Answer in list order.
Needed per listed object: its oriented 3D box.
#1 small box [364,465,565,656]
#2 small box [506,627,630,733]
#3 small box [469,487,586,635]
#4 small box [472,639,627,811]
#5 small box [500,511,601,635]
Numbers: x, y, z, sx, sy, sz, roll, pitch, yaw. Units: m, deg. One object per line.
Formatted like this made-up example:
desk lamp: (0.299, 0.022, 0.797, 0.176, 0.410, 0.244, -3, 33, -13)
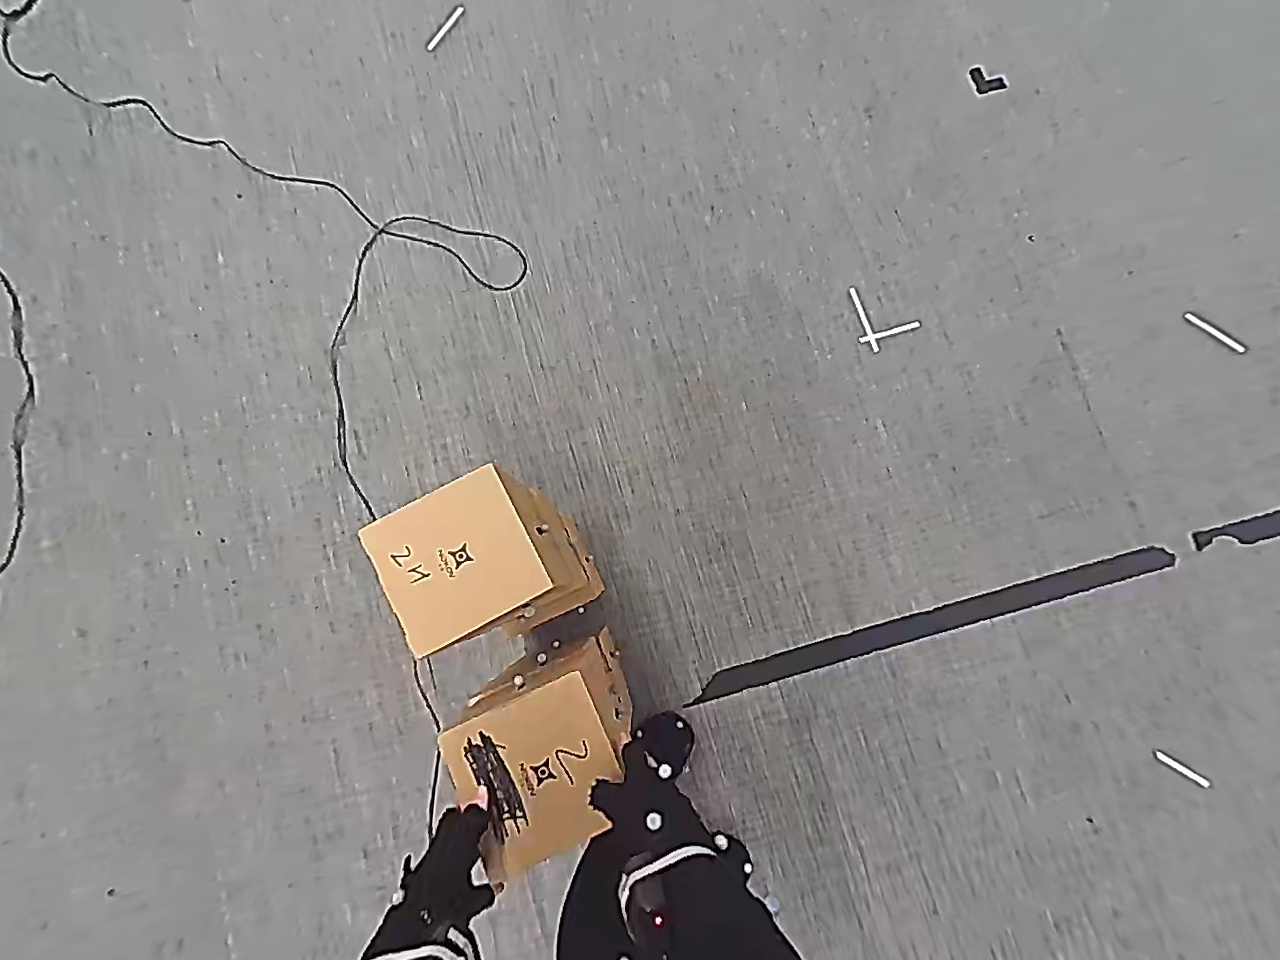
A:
small box: (-0.208, 0.100, 0.698, 0.179, 0.176, 0.168, -27, 82, -4)
small box: (-0.123, 0.380, 0.992, 0.179, 0.176, 0.168, -18, 82, -2)
small box: (-0.199, 0.128, 0.861, 0.179, 0.176, 0.168, -24, 83, -4)
small box: (-0.129, 0.358, 0.829, 0.179, 0.176, 0.168, -22, 82, -4)
small box: (-0.185, 0.173, 1.020, 0.179, 0.176, 0.168, -25, 83, -4)
